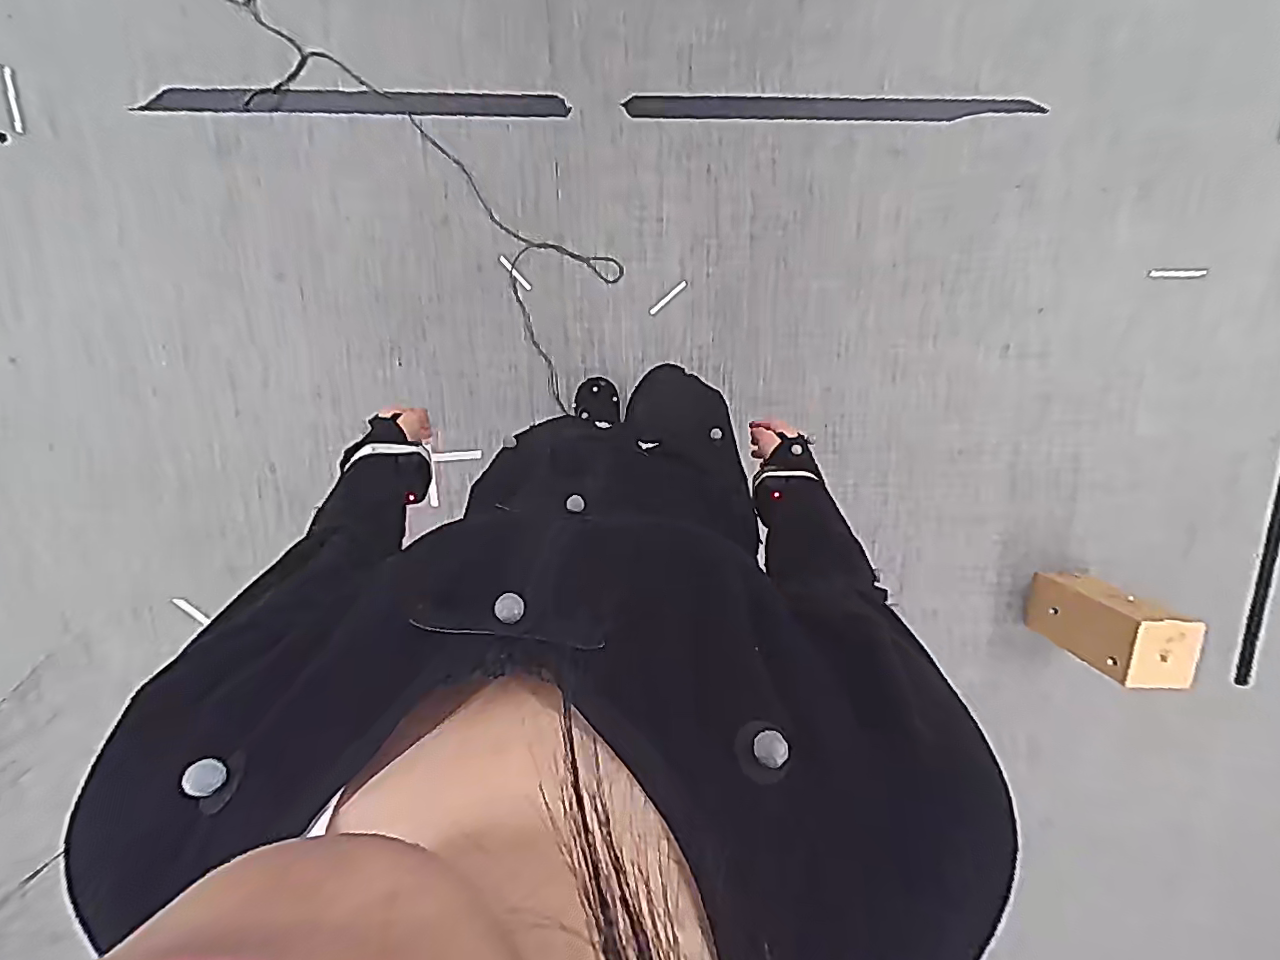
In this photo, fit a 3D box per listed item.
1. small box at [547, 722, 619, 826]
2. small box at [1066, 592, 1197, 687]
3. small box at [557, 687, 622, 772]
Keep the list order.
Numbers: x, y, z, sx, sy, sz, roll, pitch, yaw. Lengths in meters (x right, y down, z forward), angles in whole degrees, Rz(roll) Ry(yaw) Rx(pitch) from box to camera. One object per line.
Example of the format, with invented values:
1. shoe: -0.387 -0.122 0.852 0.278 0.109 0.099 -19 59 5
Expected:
1. small box: -0.143 0.748 1.396 0.168 0.176 0.179 -5 102 -1
2. small box: 1.236 0.401 1.375 0.168 0.176 0.179 2 100 -3
3. small box: -0.143 0.716 1.558 0.168 0.176 0.179 -6 102 0
